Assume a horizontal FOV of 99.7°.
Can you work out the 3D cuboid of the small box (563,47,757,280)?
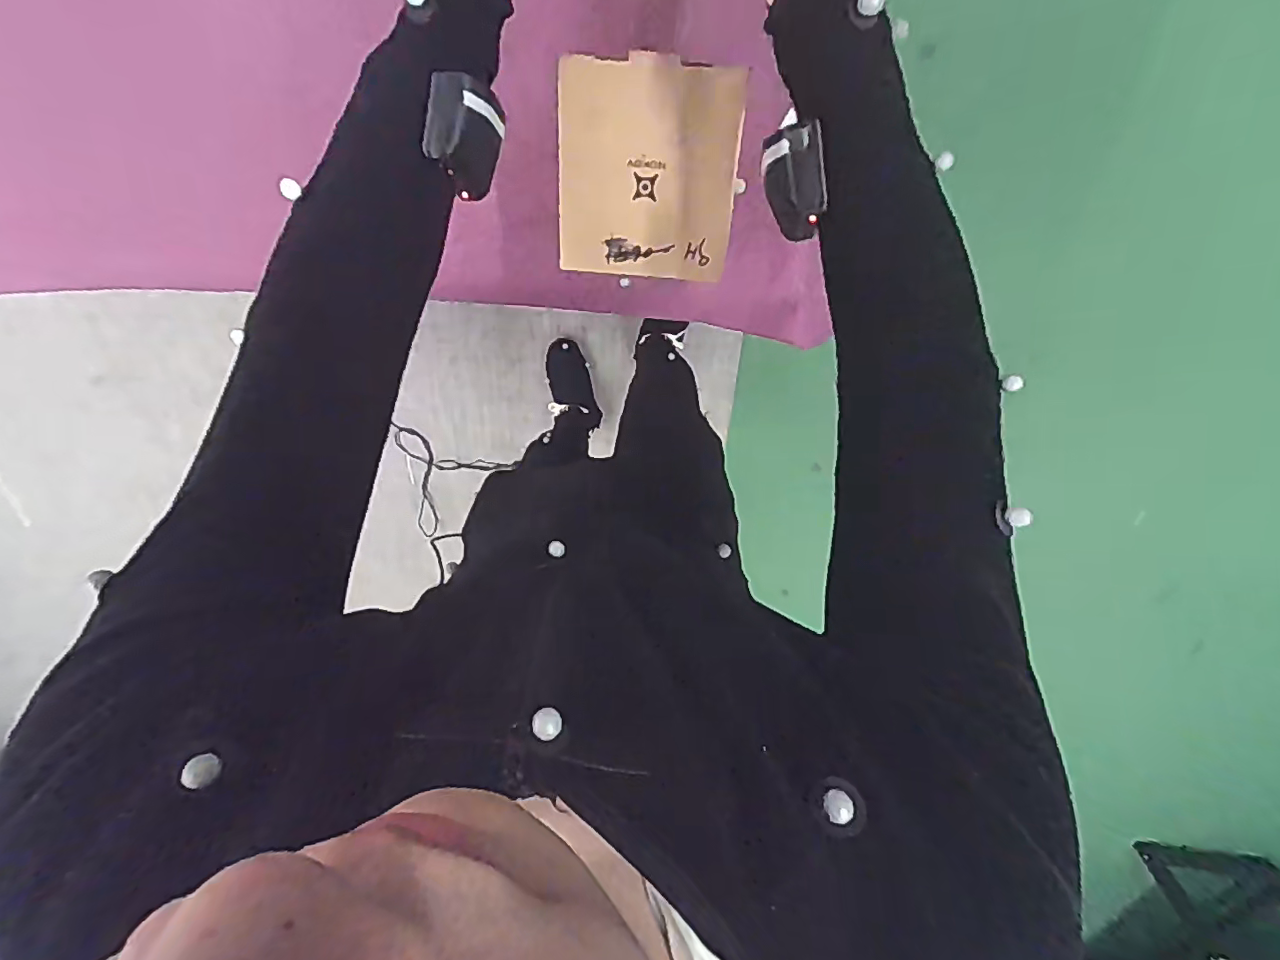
[{"bbox_3d":[0.018,-0.317,0.566,0.168,0.176,0.179,6,118,3],"label":"small box"}]
